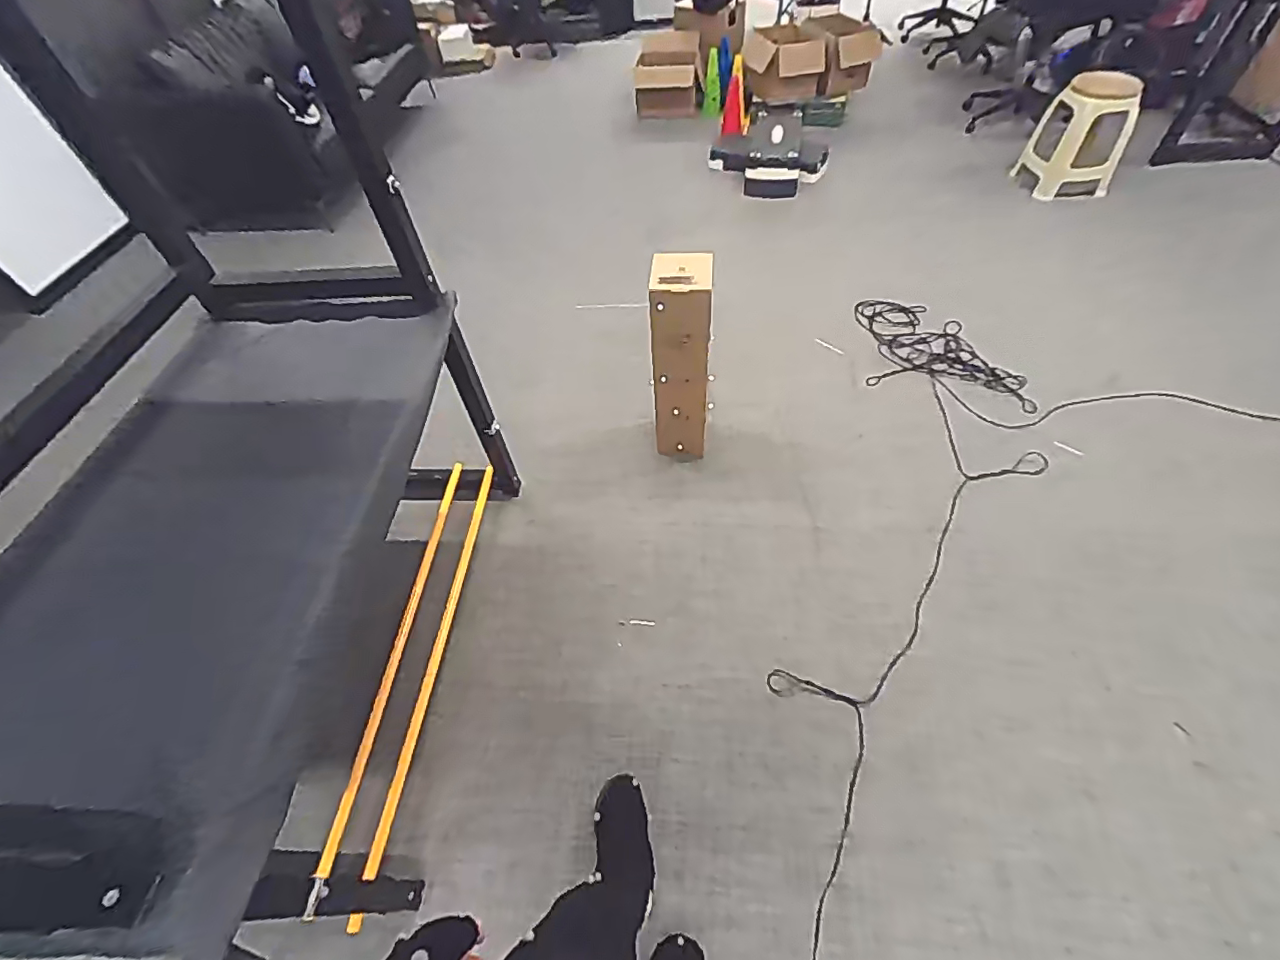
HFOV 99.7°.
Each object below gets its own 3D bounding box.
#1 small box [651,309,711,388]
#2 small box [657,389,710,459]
[{"bbox_3d":[0.129,-0.398,1.641,0.168,0.176,0.179,3,52,7],"label":"small box"},{"bbox_3d":[0.155,-0.197,1.897,0.168,0.176,0.179,4,53,10],"label":"small box"}]
